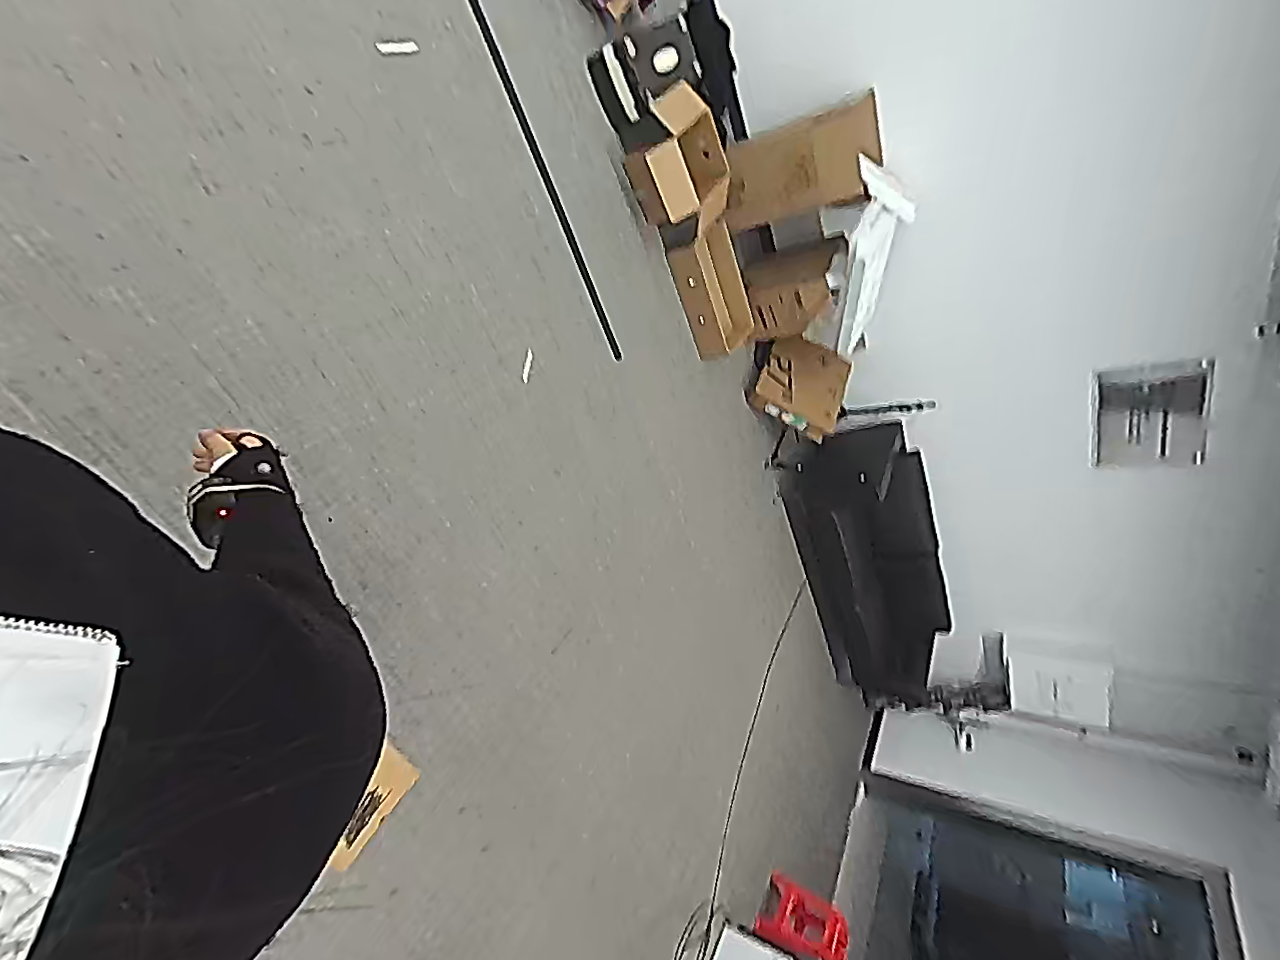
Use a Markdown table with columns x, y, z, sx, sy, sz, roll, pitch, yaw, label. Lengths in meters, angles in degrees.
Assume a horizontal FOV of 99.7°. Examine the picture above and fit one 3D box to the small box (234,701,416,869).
| x | y | z | sx | sy | sz | roll | pitch | yaw | label |
| --- | --- | --- | --- | --- | --- | --- | --- | --- | --- |
| -0.526 | 0.499 | 0.910 | 0.168 | 0.176 | 0.179 | -51 | 125 | -43 | small box |
